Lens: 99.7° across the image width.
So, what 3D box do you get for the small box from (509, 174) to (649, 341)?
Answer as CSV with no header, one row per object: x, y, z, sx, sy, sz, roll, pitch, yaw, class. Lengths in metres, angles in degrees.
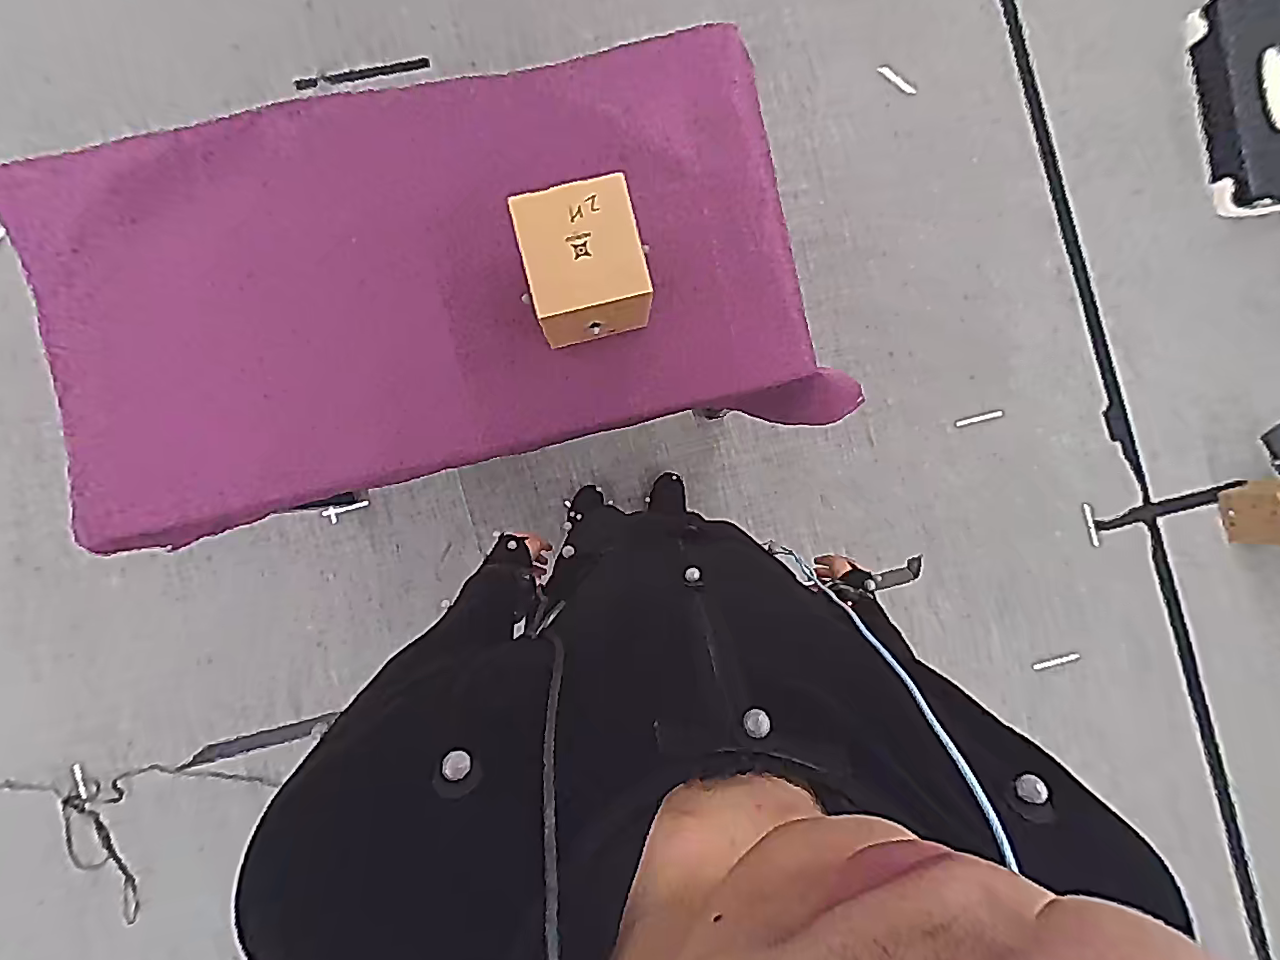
-0.087,-0.325,0.830,0.168,0.176,0.179,-14,90,-3,small box
